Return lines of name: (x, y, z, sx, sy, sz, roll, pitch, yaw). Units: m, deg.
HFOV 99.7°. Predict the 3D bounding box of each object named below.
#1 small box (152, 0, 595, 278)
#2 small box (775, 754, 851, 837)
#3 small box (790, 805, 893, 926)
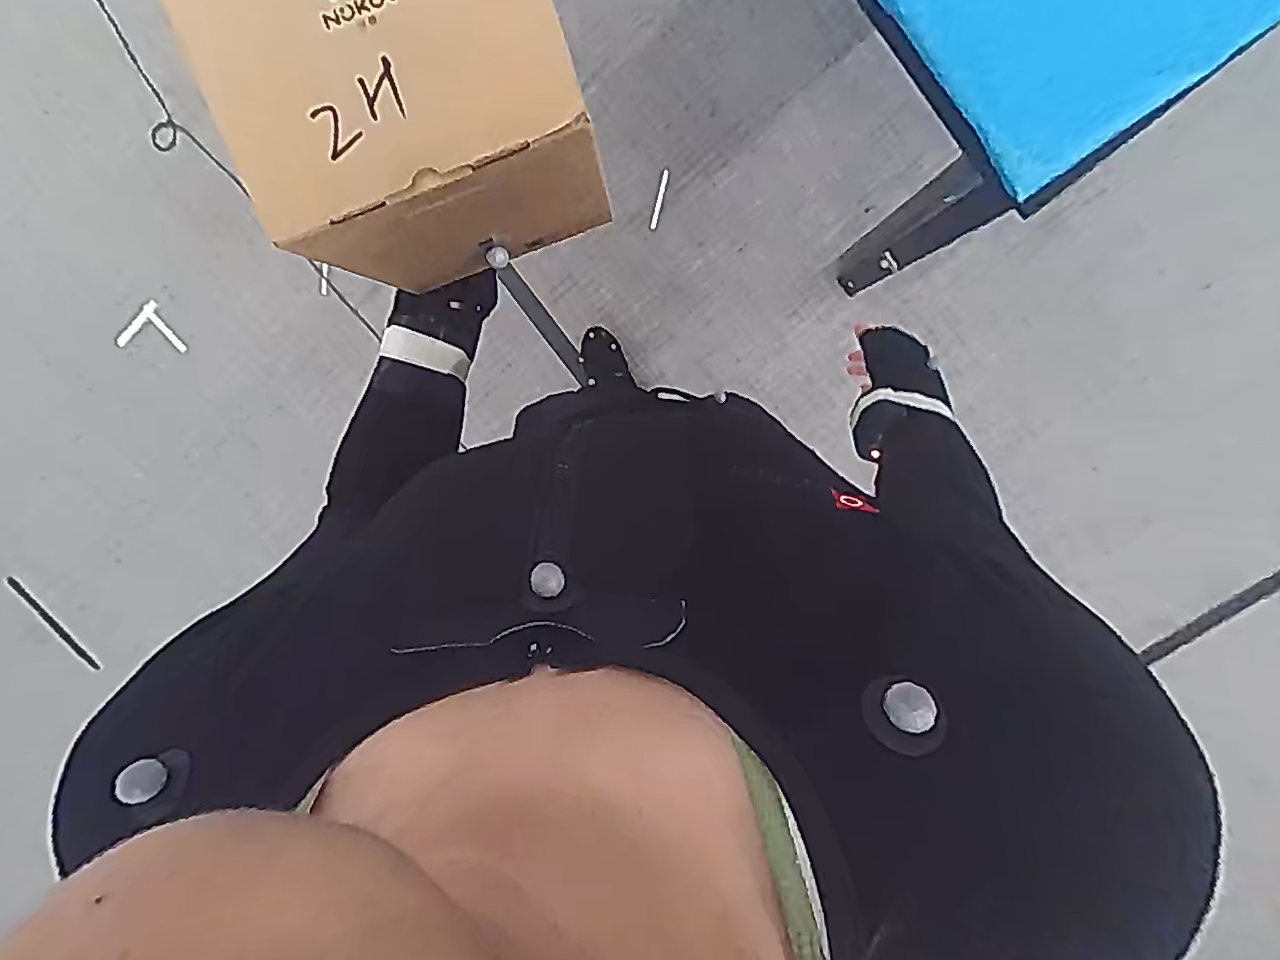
small box: (-0.133, -0.236, 0.318, 0.168, 0.176, 0.179, -14, 103, 6)
small box: (0.495, 0.904, 1.514, 0.179, 0.176, 0.168, -21, 99, 11)
small box: (0.496, 0.956, 1.355, 0.179, 0.176, 0.168, -23, 97, 11)
